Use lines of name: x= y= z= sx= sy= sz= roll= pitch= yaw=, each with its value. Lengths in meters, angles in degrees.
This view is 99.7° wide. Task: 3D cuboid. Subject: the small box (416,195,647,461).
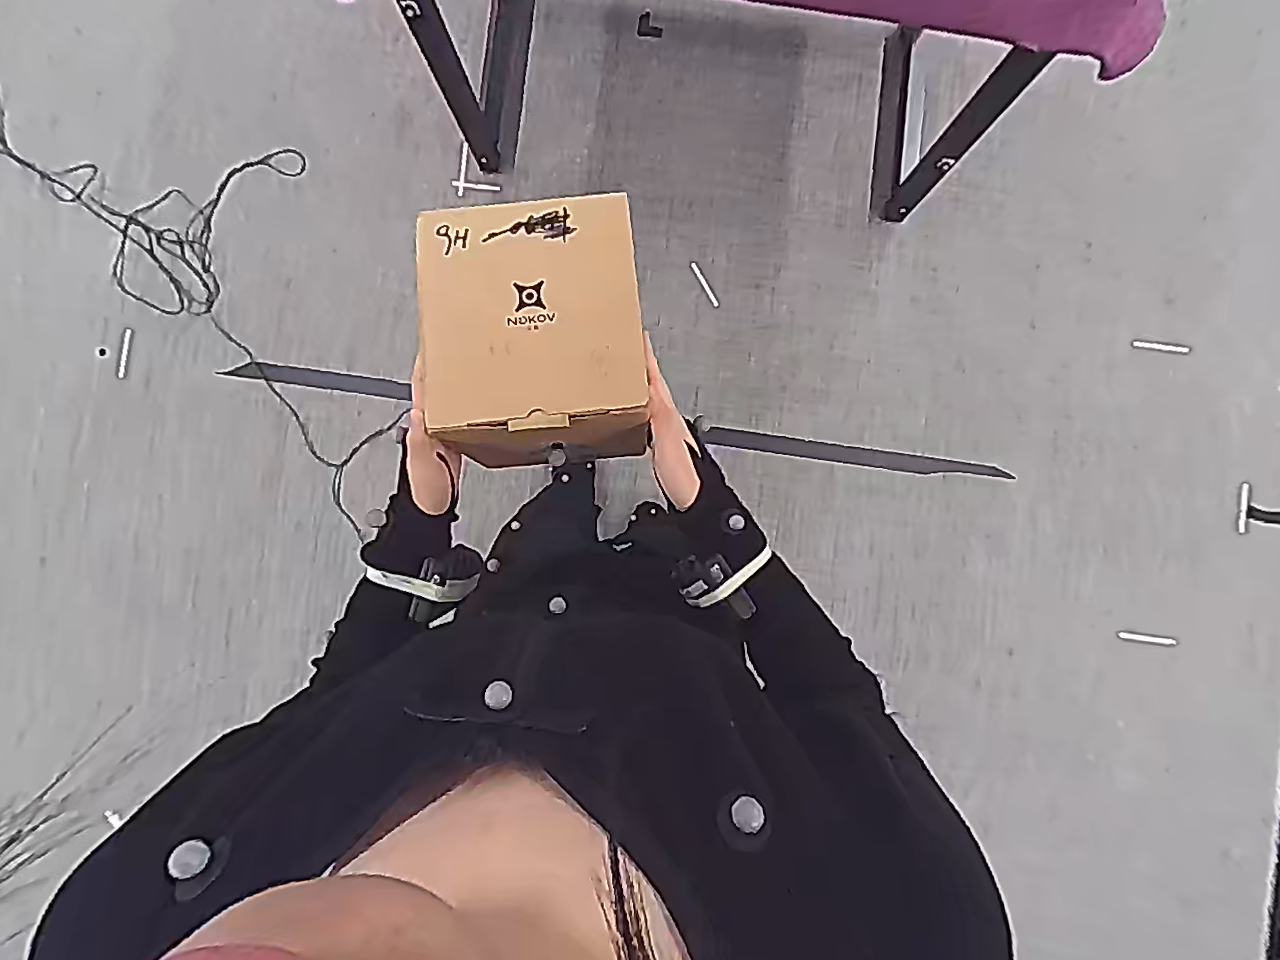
small box: x=-0.082 y=-0.116 z=0.485 sx=0.168 sy=0.176 sz=0.179 roll=-6 pitch=82 yaw=0
